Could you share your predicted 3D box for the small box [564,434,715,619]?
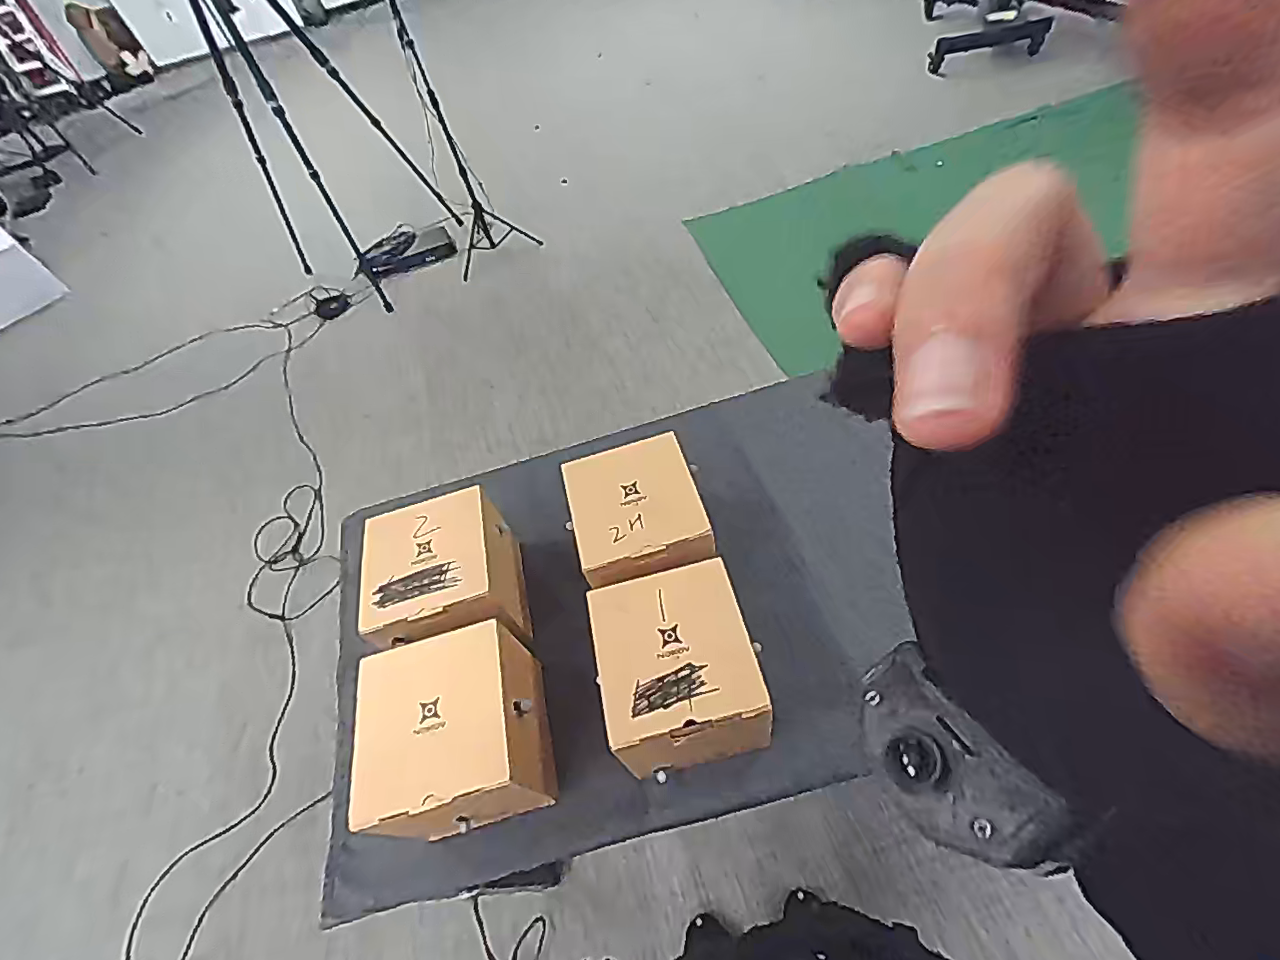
[{"bbox_3d":[0.001,0.069,0.765,0.168,0.176,0.179,-16,53,-1],"label":"small box"}]
